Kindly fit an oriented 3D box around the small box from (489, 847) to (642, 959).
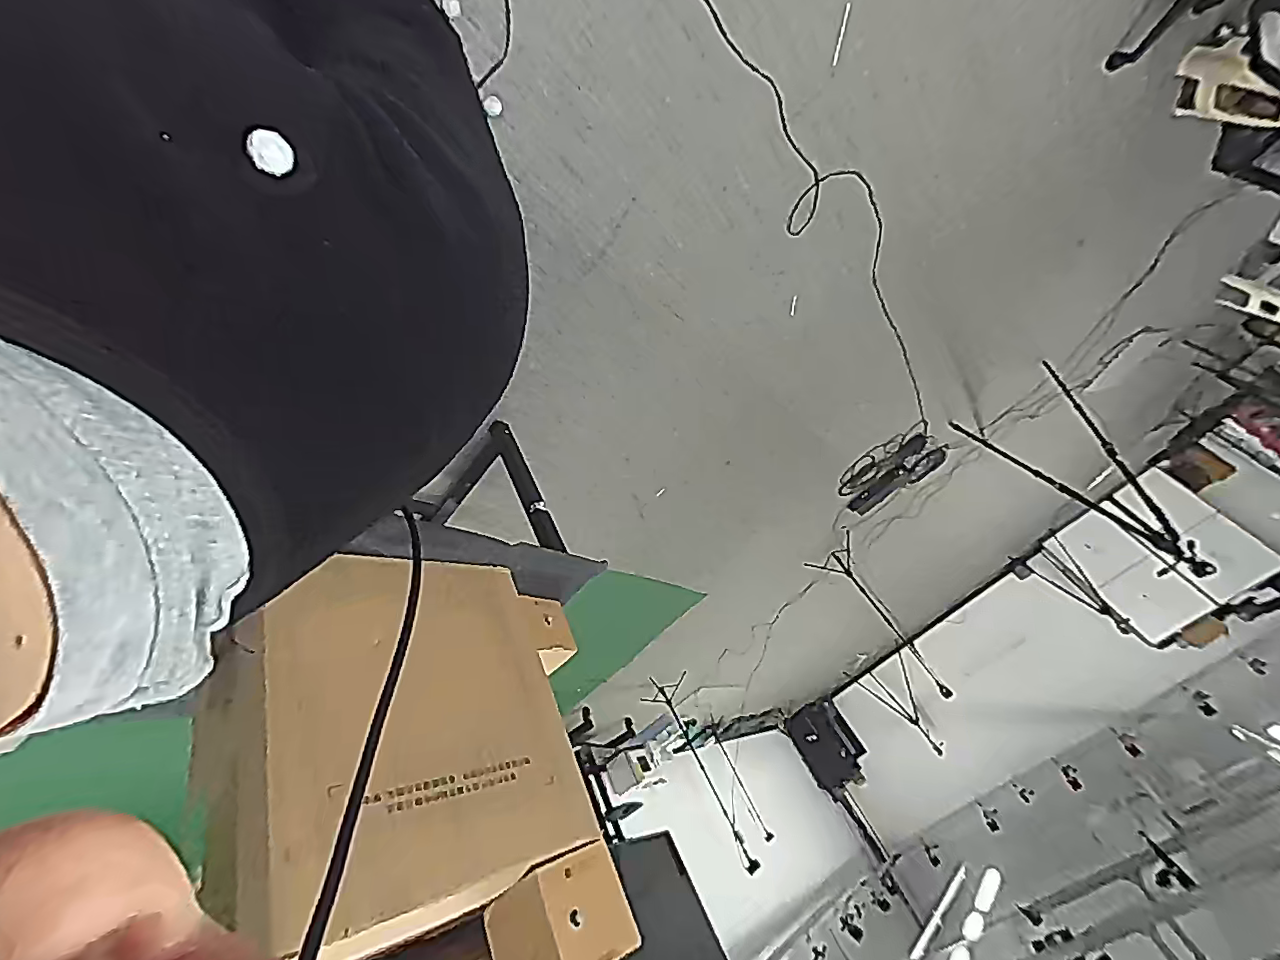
[{"bbox_3d":[-0.135,0.763,0.926,0.168,0.176,0.179,16,125,-46],"label":"small box"}]
